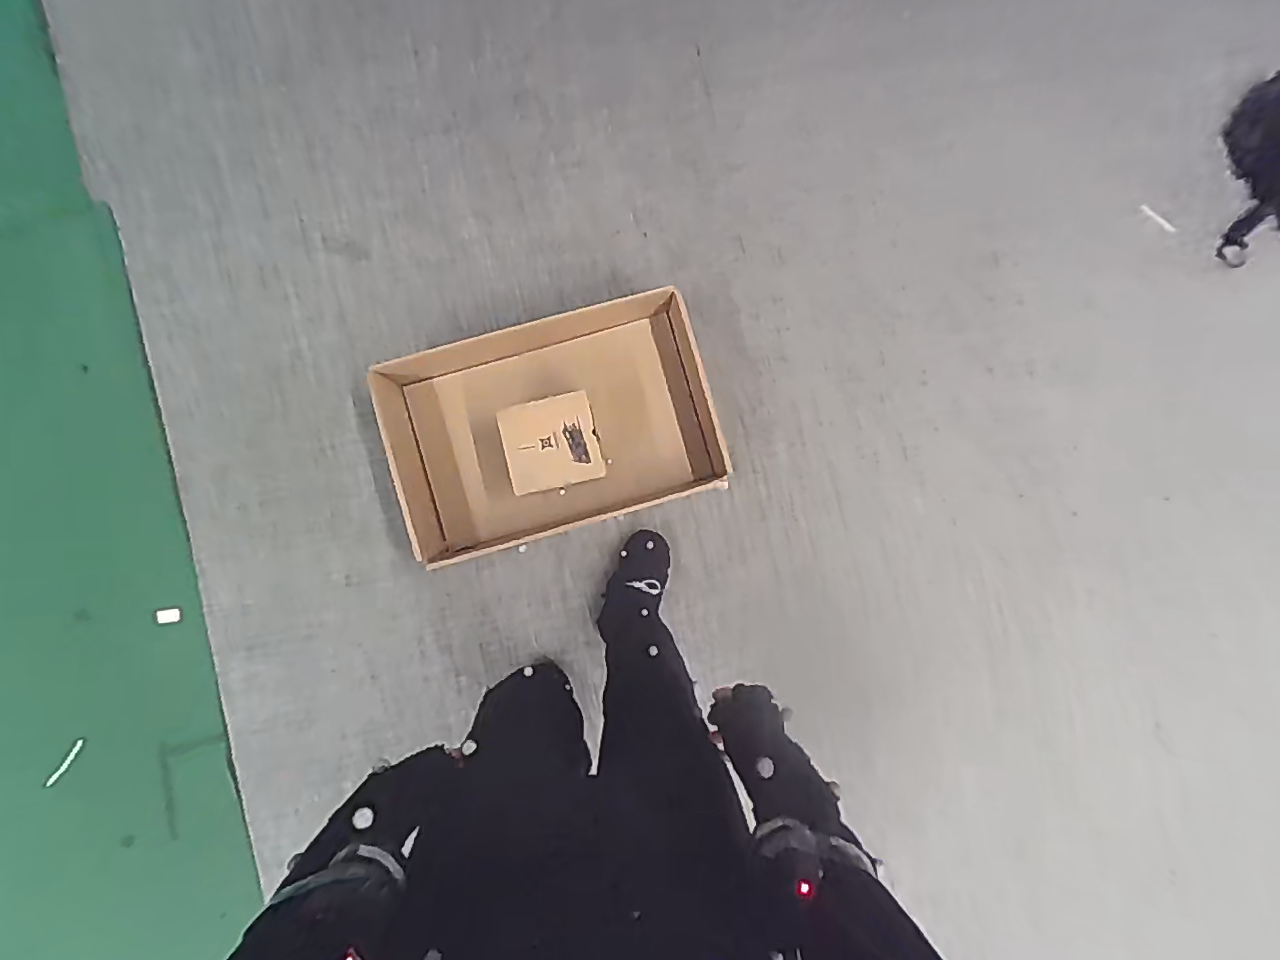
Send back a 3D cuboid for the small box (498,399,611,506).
[{"bbox_3d":[-0.162,-0.052,1.078,0.179,0.176,0.168,-16,89,-2],"label":"small box"}]
